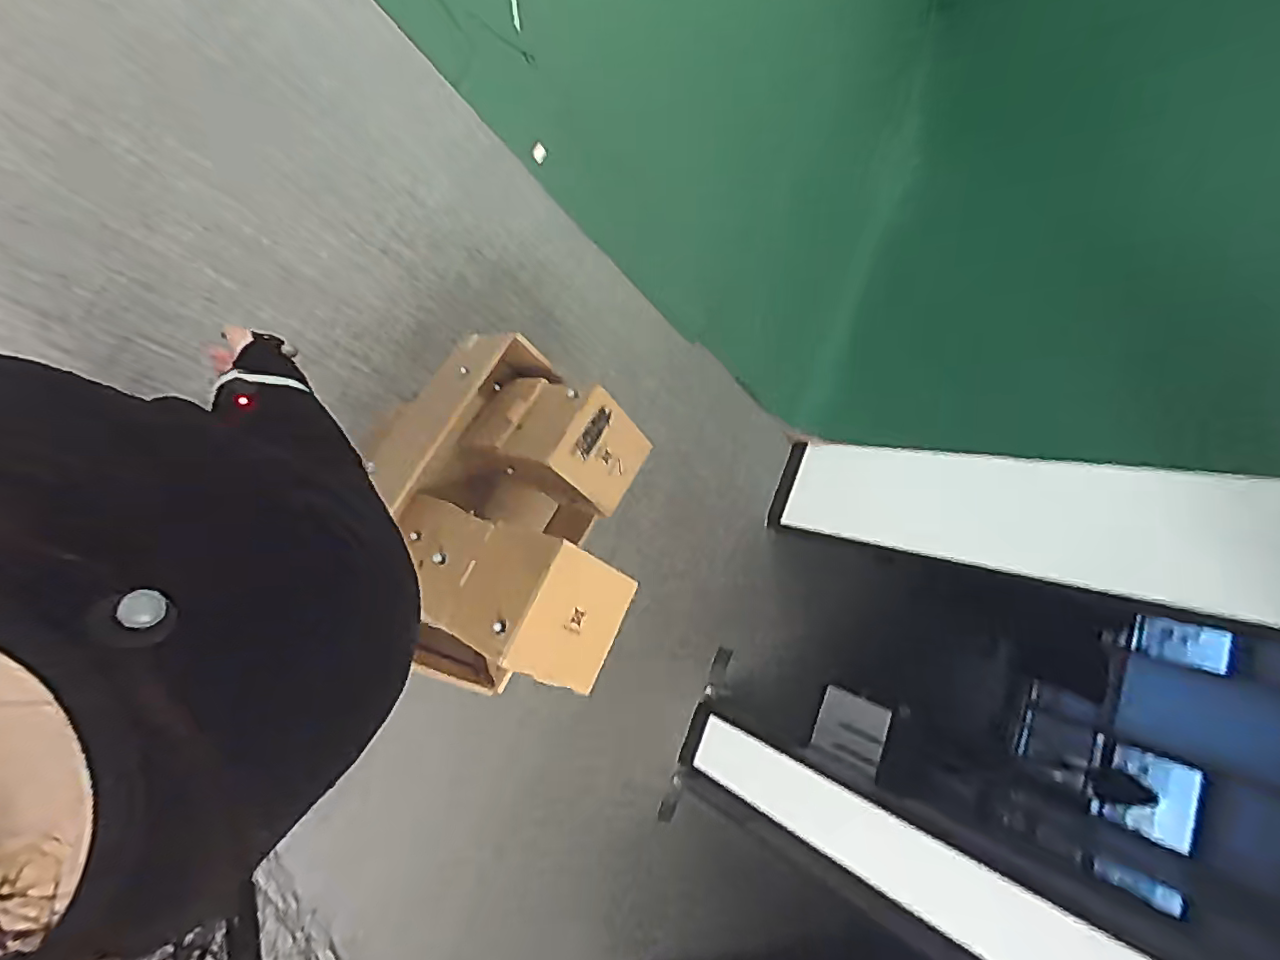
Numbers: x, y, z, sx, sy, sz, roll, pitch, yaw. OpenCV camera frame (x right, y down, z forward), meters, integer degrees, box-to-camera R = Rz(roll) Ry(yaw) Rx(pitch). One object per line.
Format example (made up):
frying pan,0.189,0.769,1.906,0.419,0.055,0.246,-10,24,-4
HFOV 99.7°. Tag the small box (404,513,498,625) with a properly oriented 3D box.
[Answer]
small box,-0.263,0.166,0.913,0.179,0.176,0.168,38,71,-40

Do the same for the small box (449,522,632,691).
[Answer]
small box,-0.149,0.179,0.797,0.168,0.176,0.179,39,70,-41
